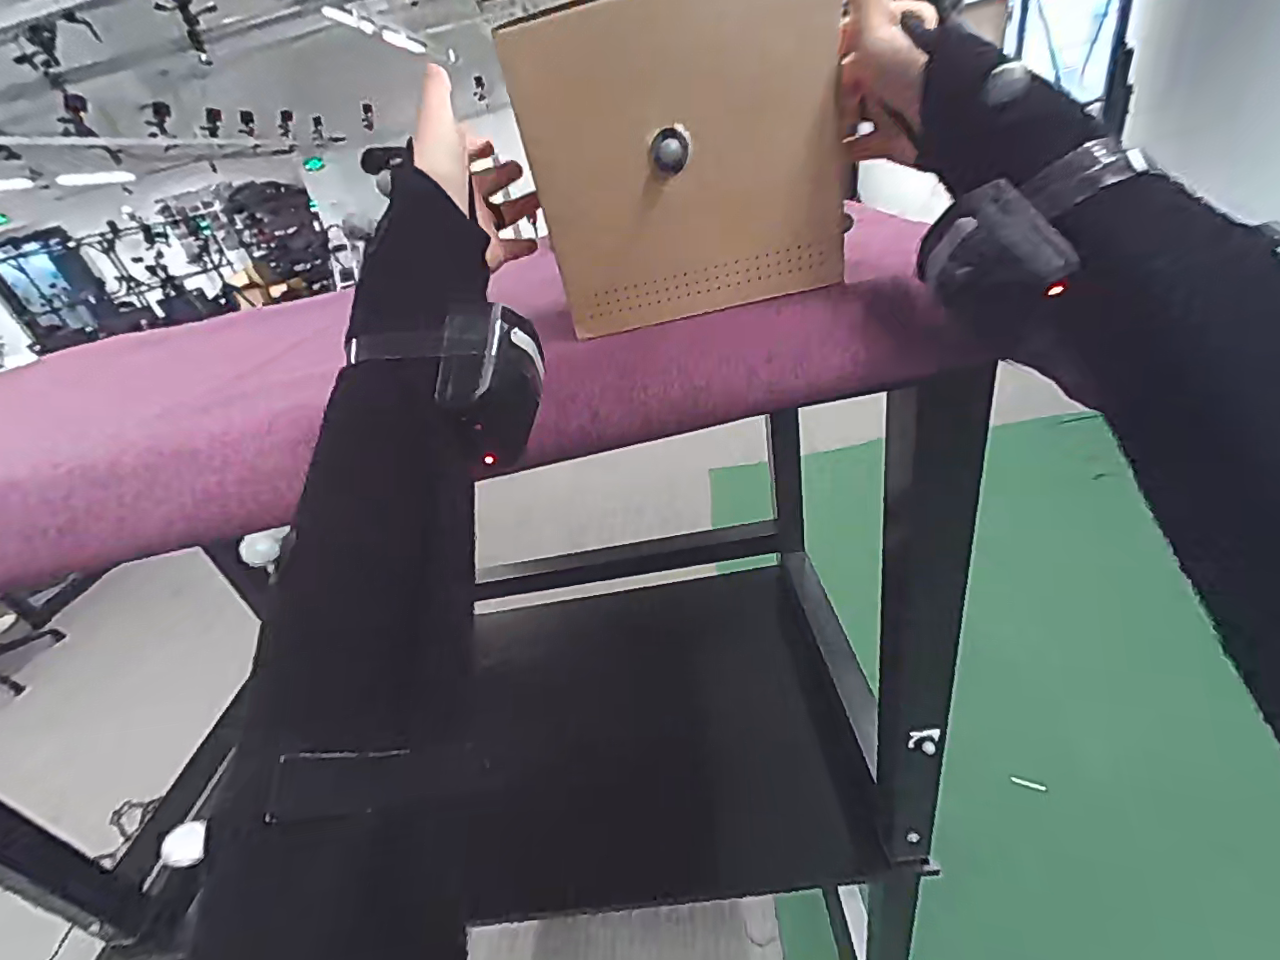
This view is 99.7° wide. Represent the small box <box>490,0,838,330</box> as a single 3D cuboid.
[{"bbox_3d":[0.026,-0.221,0.372,0.179,0.176,0.168,-11,31,7],"label":"small box"}]
